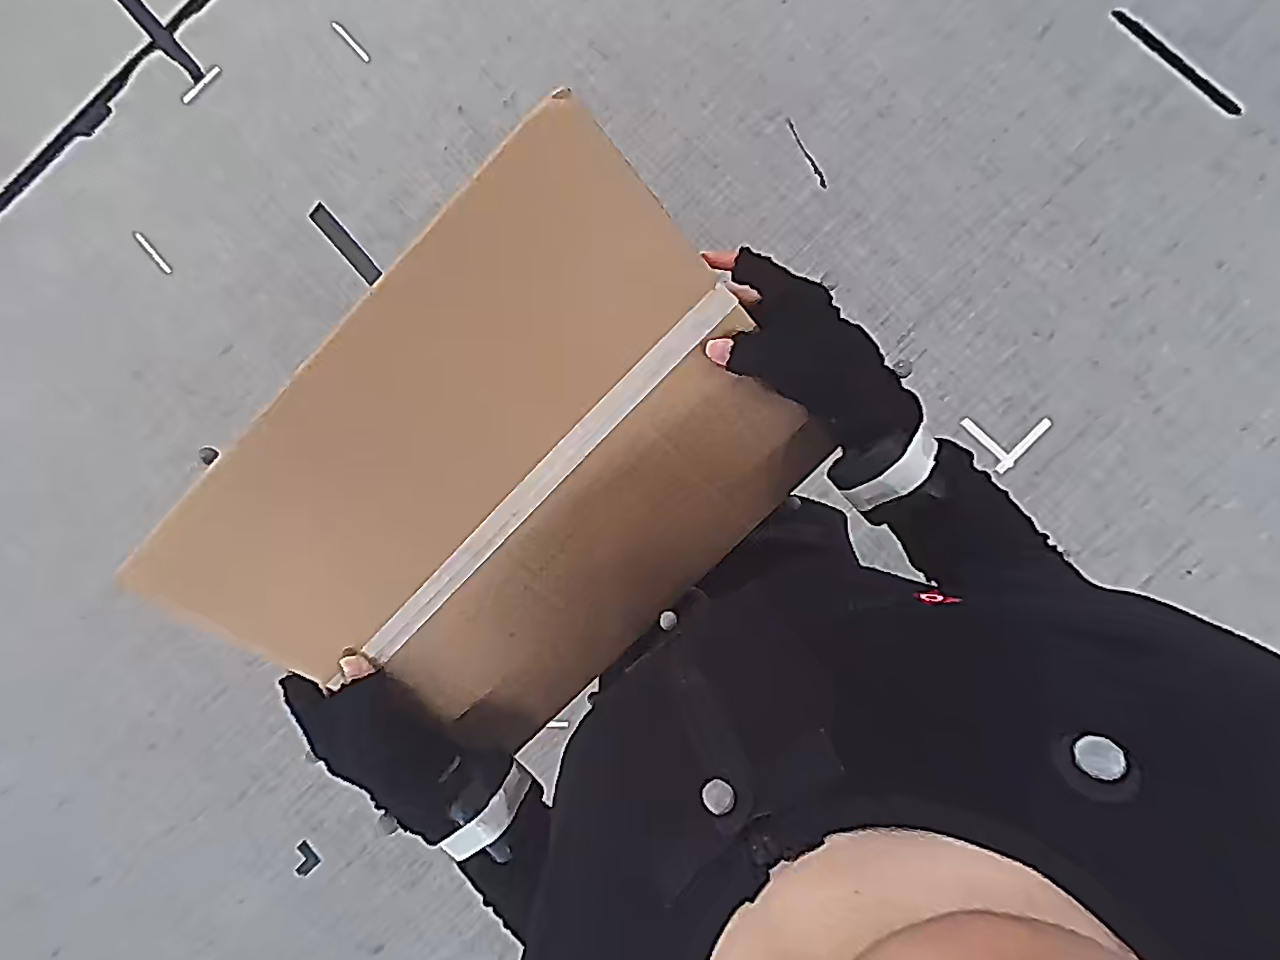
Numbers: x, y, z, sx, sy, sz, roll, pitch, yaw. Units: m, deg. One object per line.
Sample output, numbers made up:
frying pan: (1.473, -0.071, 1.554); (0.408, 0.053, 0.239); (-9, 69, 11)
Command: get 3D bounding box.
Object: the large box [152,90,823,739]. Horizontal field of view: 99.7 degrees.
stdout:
large box: (-0.122, -0.051, 0.532); (0.408, 0.320, 0.320); (-44, 116, 6)
